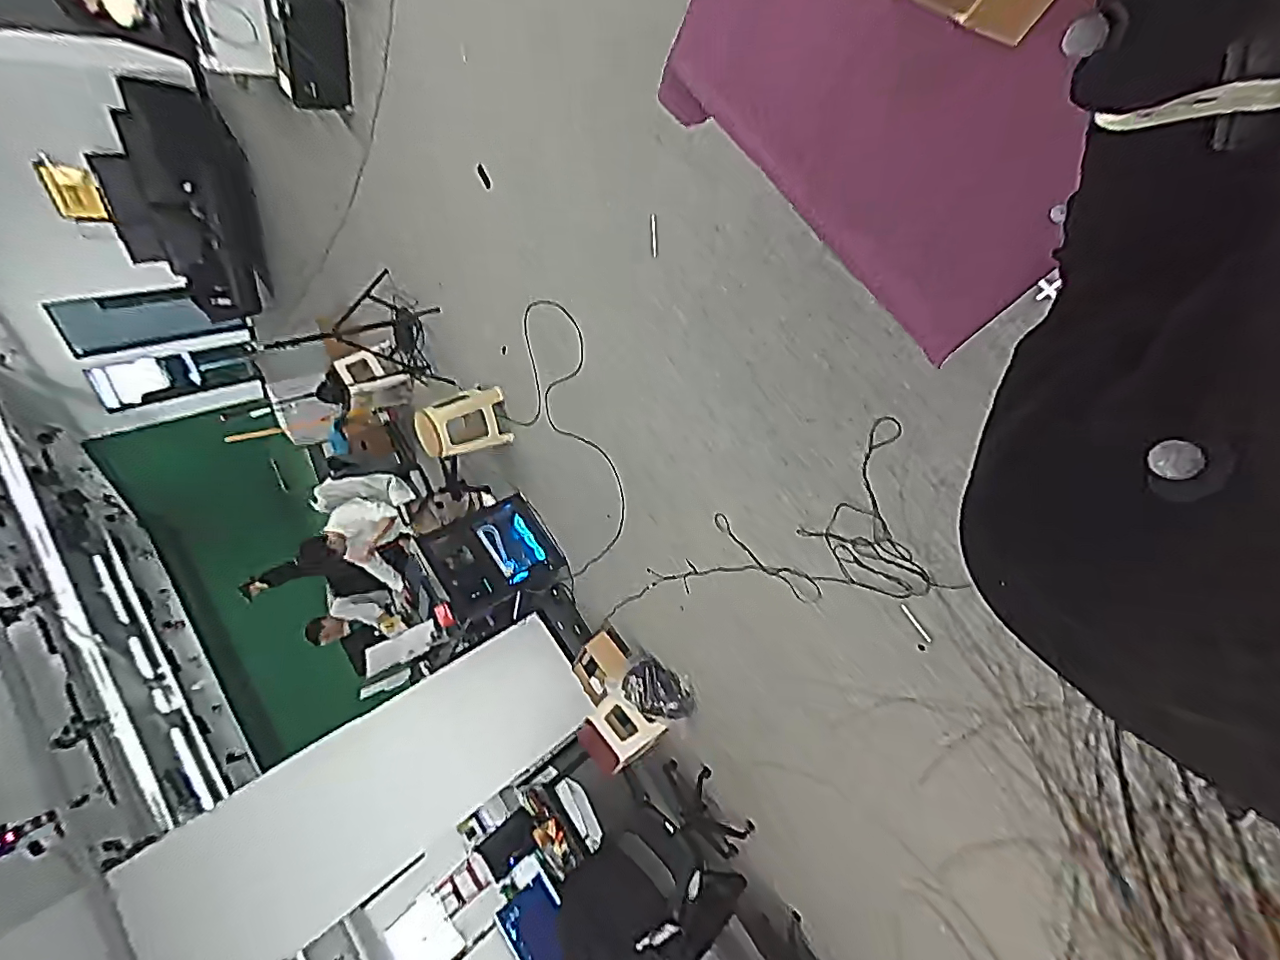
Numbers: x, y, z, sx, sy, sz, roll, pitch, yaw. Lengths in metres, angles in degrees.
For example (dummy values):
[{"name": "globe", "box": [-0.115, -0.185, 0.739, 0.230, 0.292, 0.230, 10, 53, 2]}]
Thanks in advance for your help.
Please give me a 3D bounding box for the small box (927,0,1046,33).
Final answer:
[{"name": "small box", "box": [0.322, -0.538, 0.478, 0.179, 0.176, 0.168, 55, 143, 13]}]
